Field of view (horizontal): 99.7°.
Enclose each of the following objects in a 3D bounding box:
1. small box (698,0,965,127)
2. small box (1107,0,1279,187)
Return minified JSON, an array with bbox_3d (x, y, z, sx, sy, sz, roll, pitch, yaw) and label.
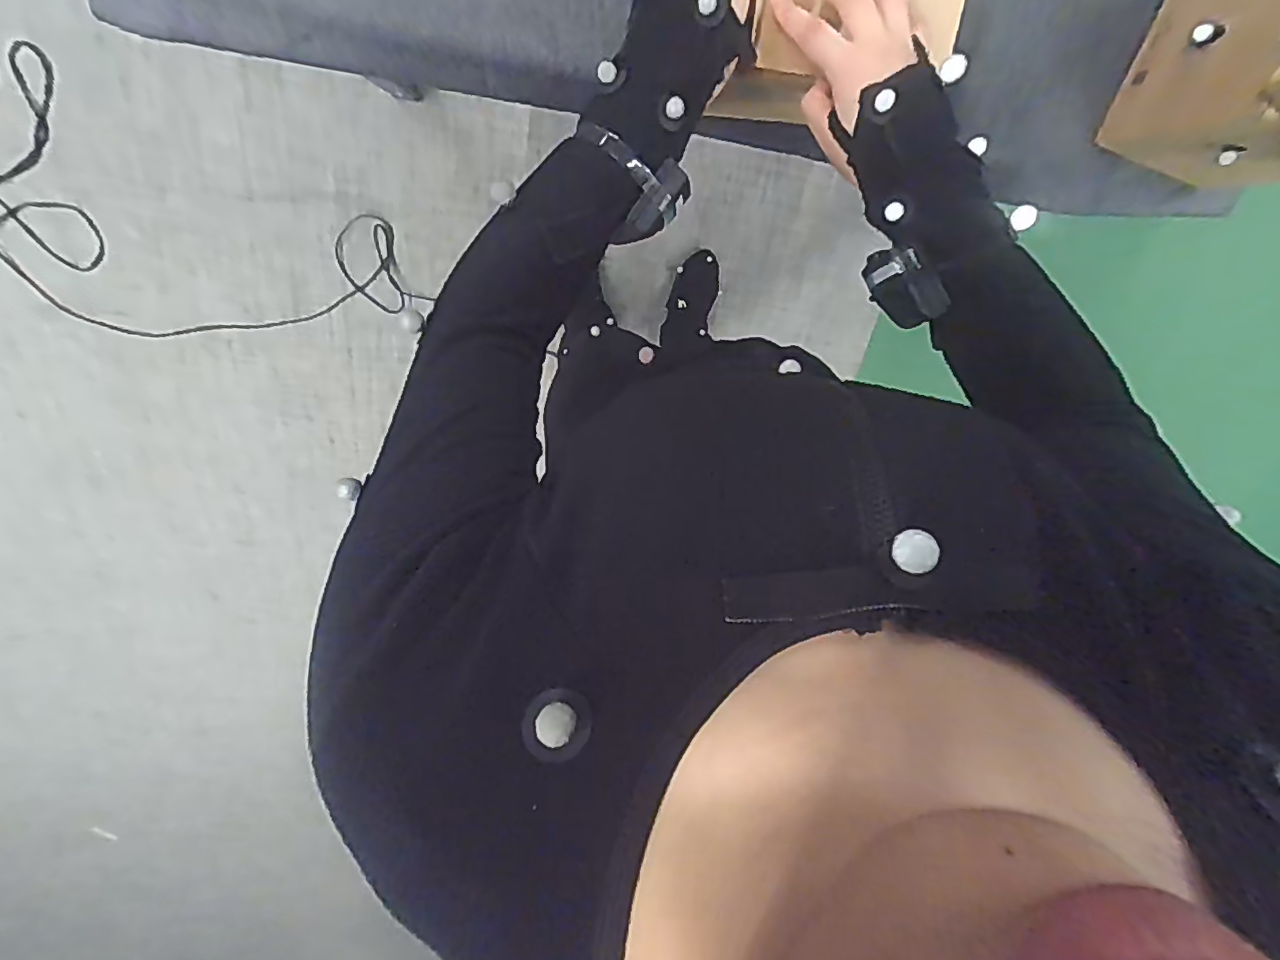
[{"bbox_3d":[0.154,-0.417,0.466,0.179,0.176,0.168,0,117,-8],"label":"small box"},{"bbox_3d":[0.636,-0.405,0.536,0.179,0.176,0.168,11,112,-12],"label":"small box"}]
